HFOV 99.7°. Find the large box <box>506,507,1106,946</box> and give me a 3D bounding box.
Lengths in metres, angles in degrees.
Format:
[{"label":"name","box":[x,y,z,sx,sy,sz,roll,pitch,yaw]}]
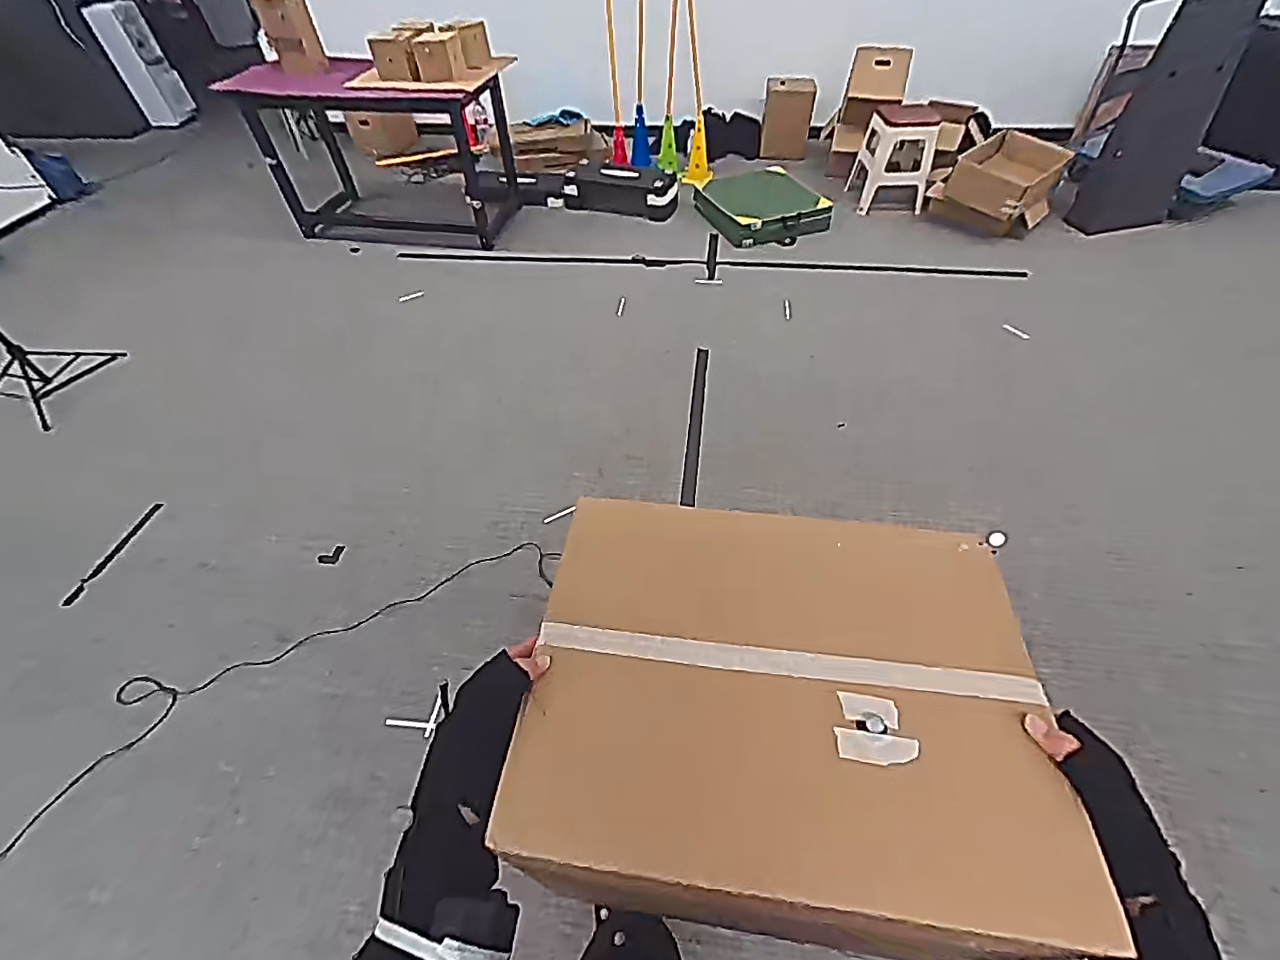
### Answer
[{"label":"large box","box":[0.119,0.255,0.566,0.408,0.320,0.320,5,49,6]}]
